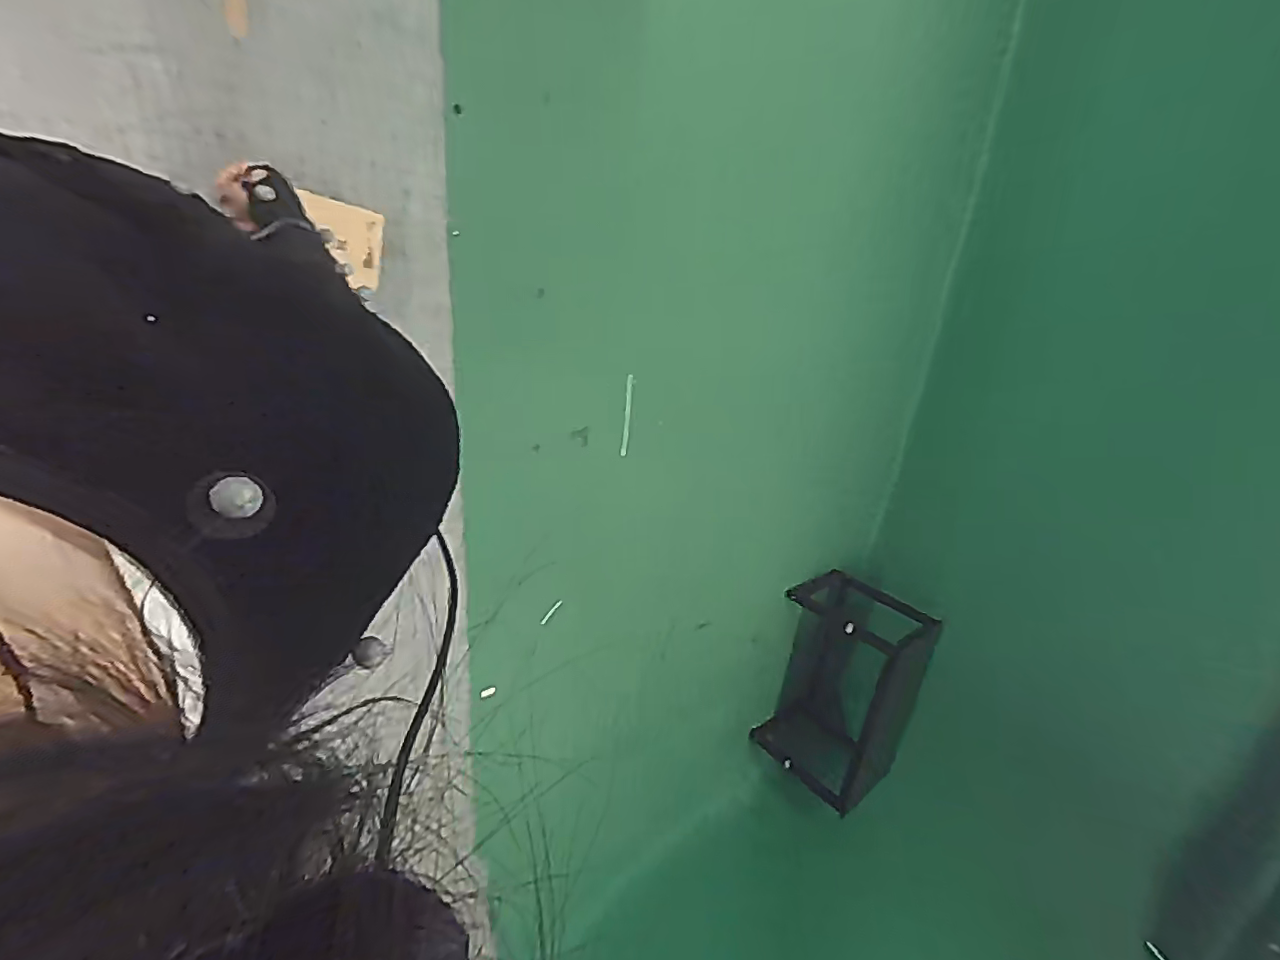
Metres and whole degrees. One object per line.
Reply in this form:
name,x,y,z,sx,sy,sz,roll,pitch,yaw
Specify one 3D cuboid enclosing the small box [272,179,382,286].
small box,-0.689,-0.535,1.182,0.179,0.176,0.168,0,111,-43
